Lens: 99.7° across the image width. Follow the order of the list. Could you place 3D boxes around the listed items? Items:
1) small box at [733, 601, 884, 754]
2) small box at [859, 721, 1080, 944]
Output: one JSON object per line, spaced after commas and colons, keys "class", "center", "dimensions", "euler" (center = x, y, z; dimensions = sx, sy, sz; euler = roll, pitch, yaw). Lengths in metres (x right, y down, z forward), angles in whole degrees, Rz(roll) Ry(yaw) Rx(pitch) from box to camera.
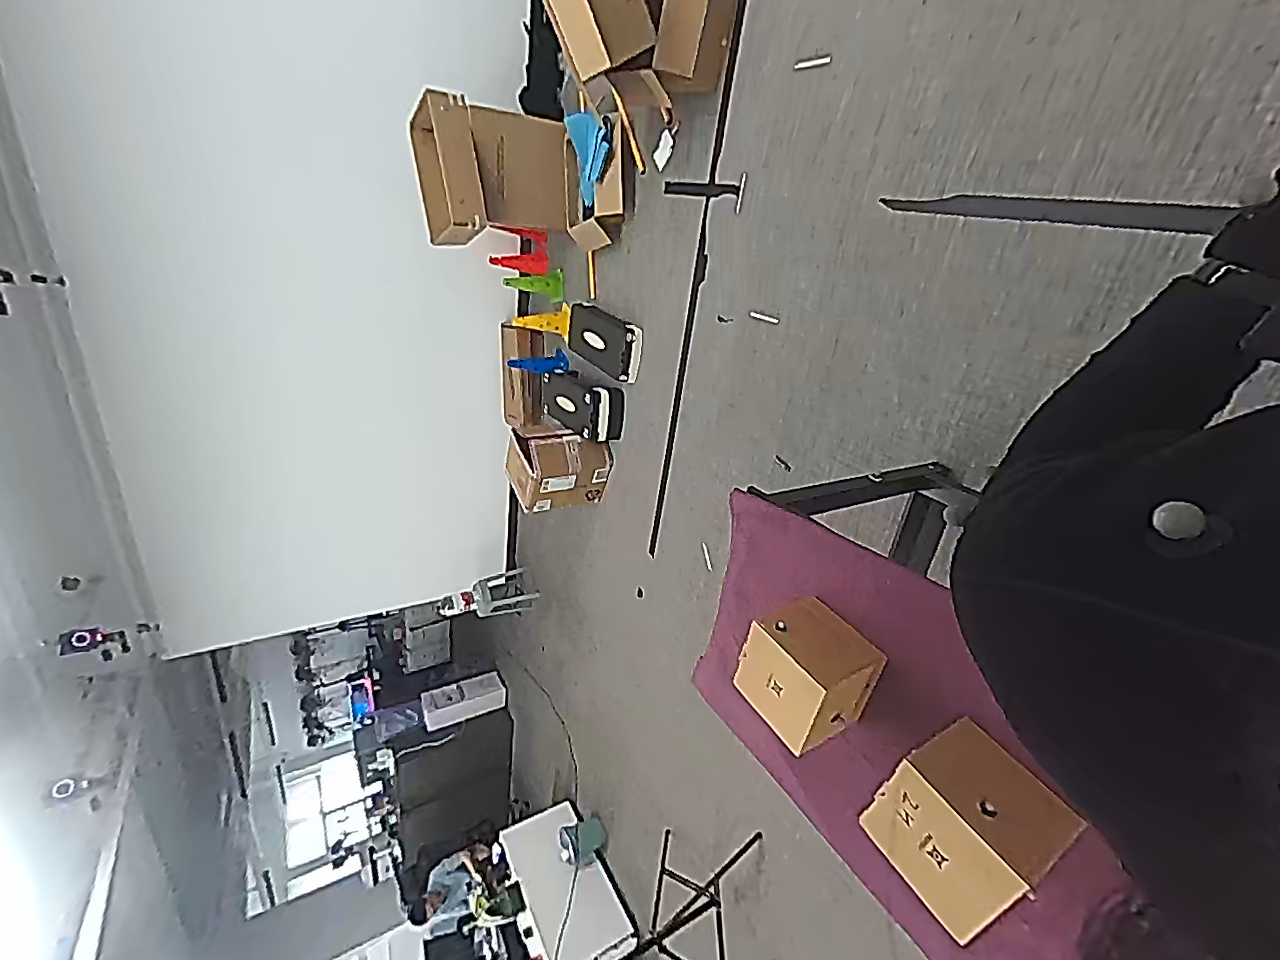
{"class": "small box", "center": [0.302, 0.343, 0.975], "dimensions": [0.179, 0.176, 0.168], "euler": [42, 132, 46]}
{"class": "small box", "center": [0.456, 0.478, 0.757], "dimensions": [0.179, 0.176, 0.168], "euler": [47, 133, 44]}
